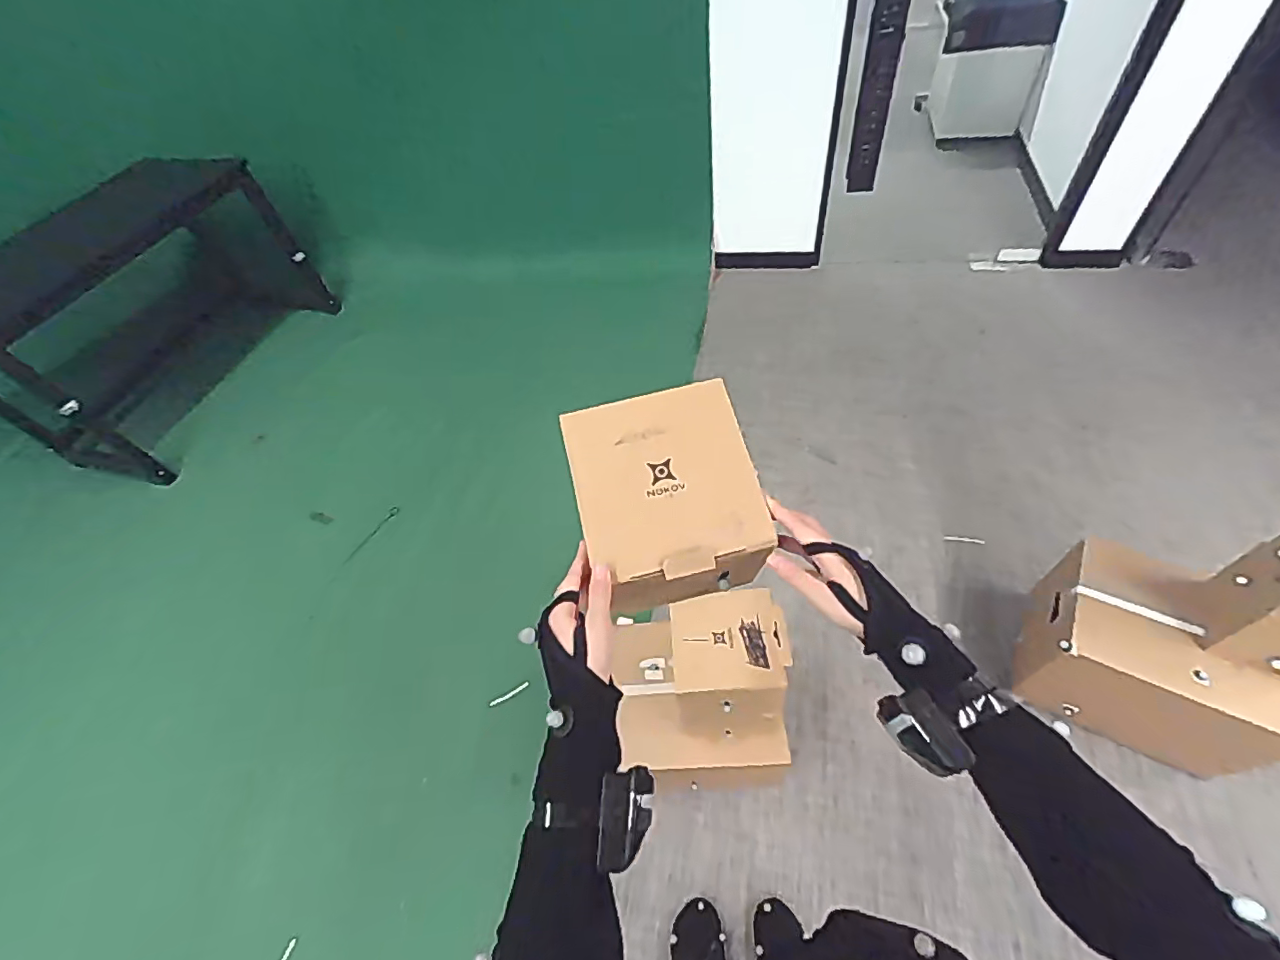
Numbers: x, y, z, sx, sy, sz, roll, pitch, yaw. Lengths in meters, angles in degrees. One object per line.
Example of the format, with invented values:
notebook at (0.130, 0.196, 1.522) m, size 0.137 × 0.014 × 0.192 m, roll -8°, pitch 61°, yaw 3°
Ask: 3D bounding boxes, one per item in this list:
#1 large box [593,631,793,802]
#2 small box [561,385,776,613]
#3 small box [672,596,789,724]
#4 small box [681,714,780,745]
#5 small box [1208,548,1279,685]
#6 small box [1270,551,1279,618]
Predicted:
large box at (0.121, 0.558, 1.277) m, size 0.408 × 0.320 × 0.320 m, roll -6°, pitch 51°, yaw 6°
small box at (0.025, 0.033, 0.563) m, size 0.168 × 0.176 × 0.179 m, roll -13°, pitch 67°, yaw -3°
small box at (0.152, 0.315, 0.936) m, size 0.179 × 0.176 × 0.168 m, roll -6°, pitch 52°, yaw 7°
small box at (0.173, 0.414, 1.066) m, size 0.179 × 0.176 × 0.168 m, roll -2°, pitch 52°, yaw 8°
small box at (1.220, 0.266, 1.010) m, size 0.168 × 0.176 × 0.179 m, roll 22°, pitch 57°, yaw 24°
small box at (1.209, 0.168, 0.882) m, size 0.179 × 0.176 × 0.168 m, roll 23°, pitch 58°, yaw 26°
